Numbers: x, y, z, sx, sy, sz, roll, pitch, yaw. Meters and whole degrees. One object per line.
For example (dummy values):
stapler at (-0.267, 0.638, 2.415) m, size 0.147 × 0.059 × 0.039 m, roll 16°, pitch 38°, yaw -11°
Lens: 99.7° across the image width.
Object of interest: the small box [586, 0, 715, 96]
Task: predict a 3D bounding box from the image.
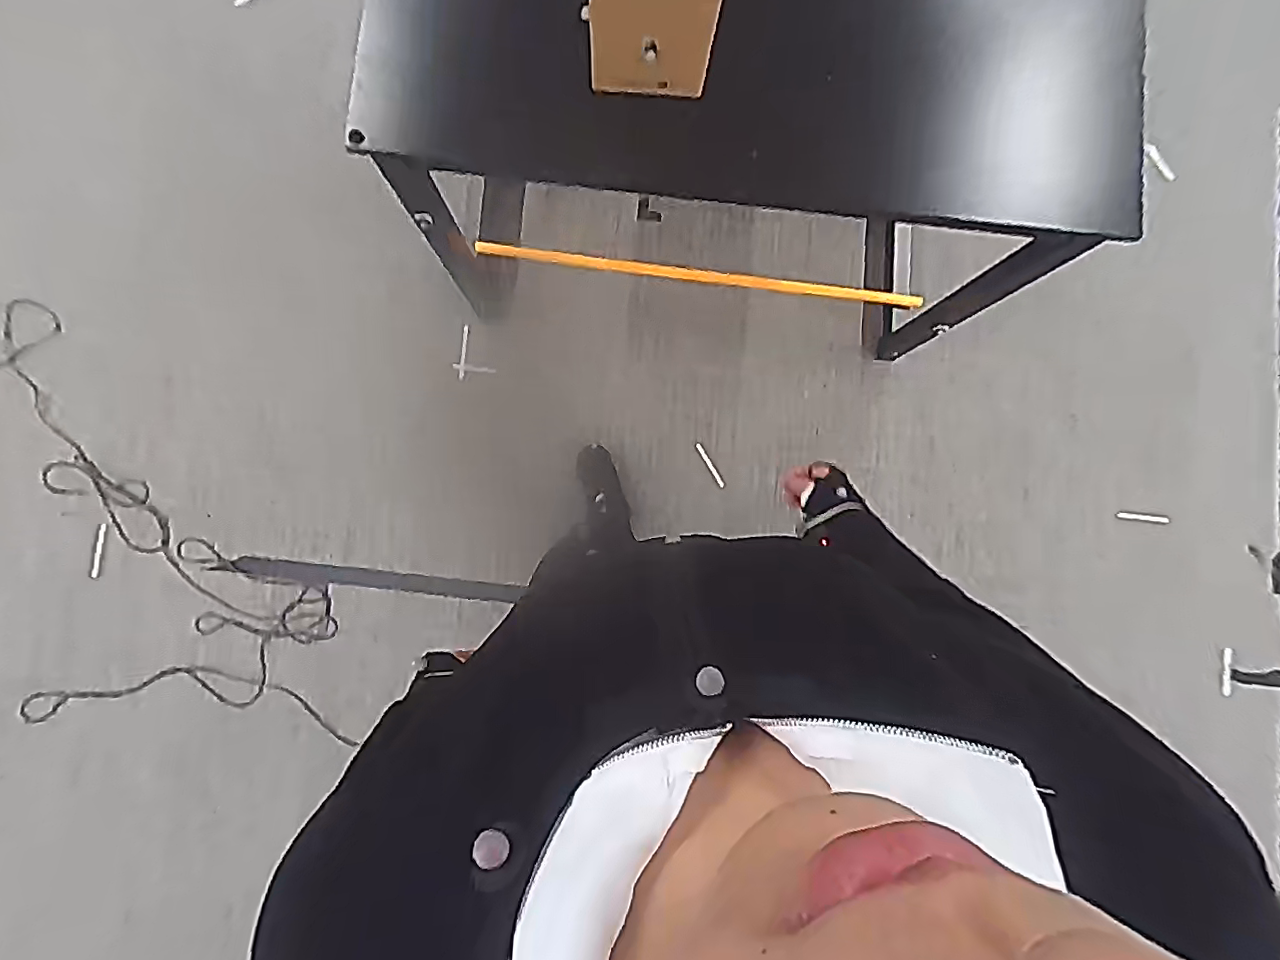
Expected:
small box at (0.015, -0.670, 0.743) m, size 0.168 × 0.176 × 0.179 m, roll 1°, pitch 86°, yaw -2°
